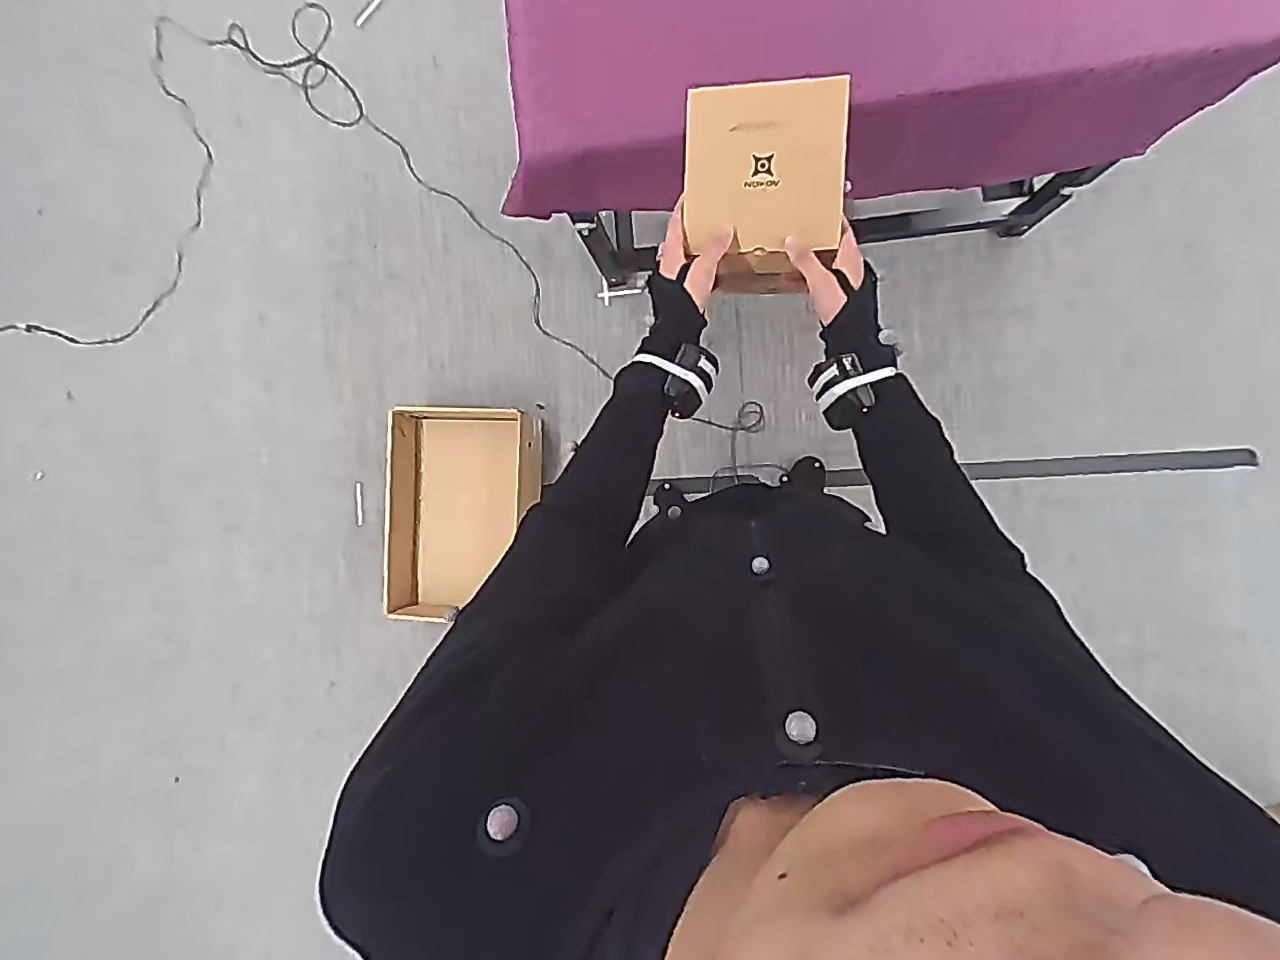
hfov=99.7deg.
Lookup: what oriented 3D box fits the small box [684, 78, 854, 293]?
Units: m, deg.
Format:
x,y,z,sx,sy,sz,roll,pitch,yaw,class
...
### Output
x,y,z,sx,sy,sz,roll,pitch,yaw,class
0.146,-0.328,0.641,0.168,0.176,0.179,3,95,10,small box
